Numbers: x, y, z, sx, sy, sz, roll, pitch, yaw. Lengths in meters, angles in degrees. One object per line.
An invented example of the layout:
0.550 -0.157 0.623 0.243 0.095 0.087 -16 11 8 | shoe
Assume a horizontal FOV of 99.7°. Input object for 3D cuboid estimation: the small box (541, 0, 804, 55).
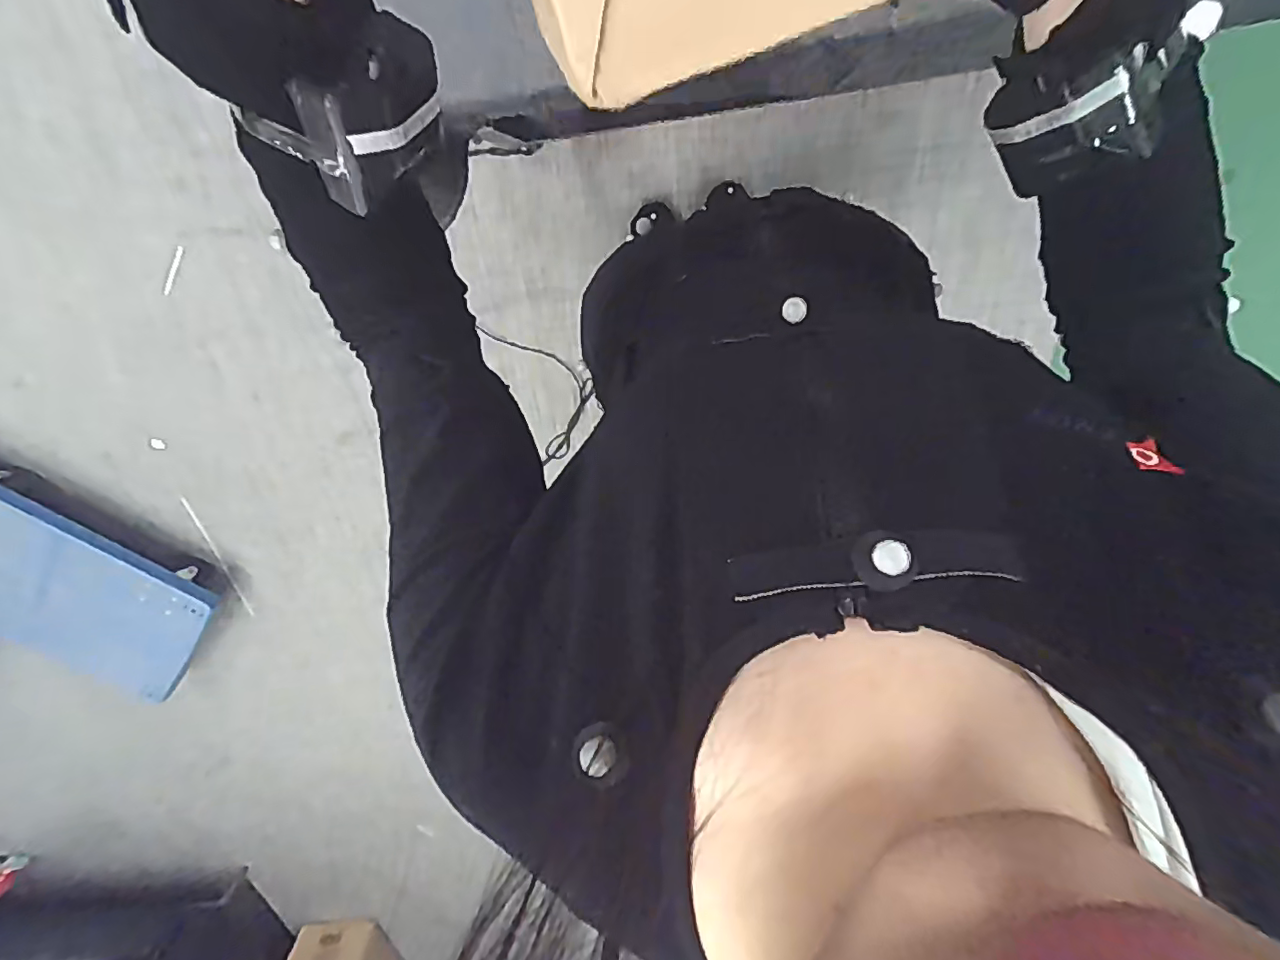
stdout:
0.026 -0.231 0.114 0.168 0.176 0.179 -20 135 5 | small box
